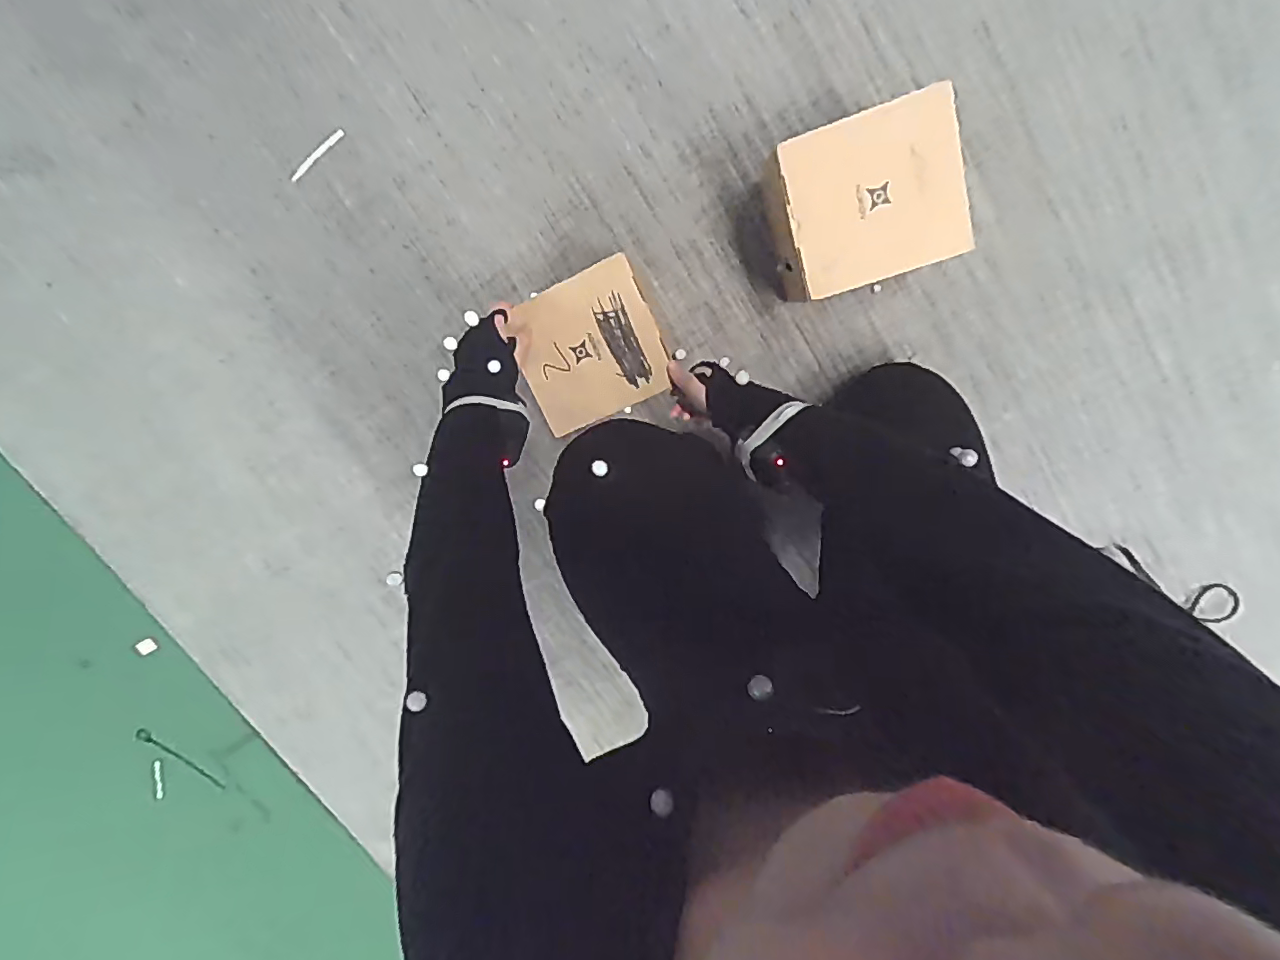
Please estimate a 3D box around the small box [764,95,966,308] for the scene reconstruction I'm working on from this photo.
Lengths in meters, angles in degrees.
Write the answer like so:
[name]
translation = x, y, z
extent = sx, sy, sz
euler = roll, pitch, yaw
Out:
[small box]
translation = 0.251, -0.309, 0.646
extent = 0.179, 0.176, 0.168
euler = -15, 105, 12
